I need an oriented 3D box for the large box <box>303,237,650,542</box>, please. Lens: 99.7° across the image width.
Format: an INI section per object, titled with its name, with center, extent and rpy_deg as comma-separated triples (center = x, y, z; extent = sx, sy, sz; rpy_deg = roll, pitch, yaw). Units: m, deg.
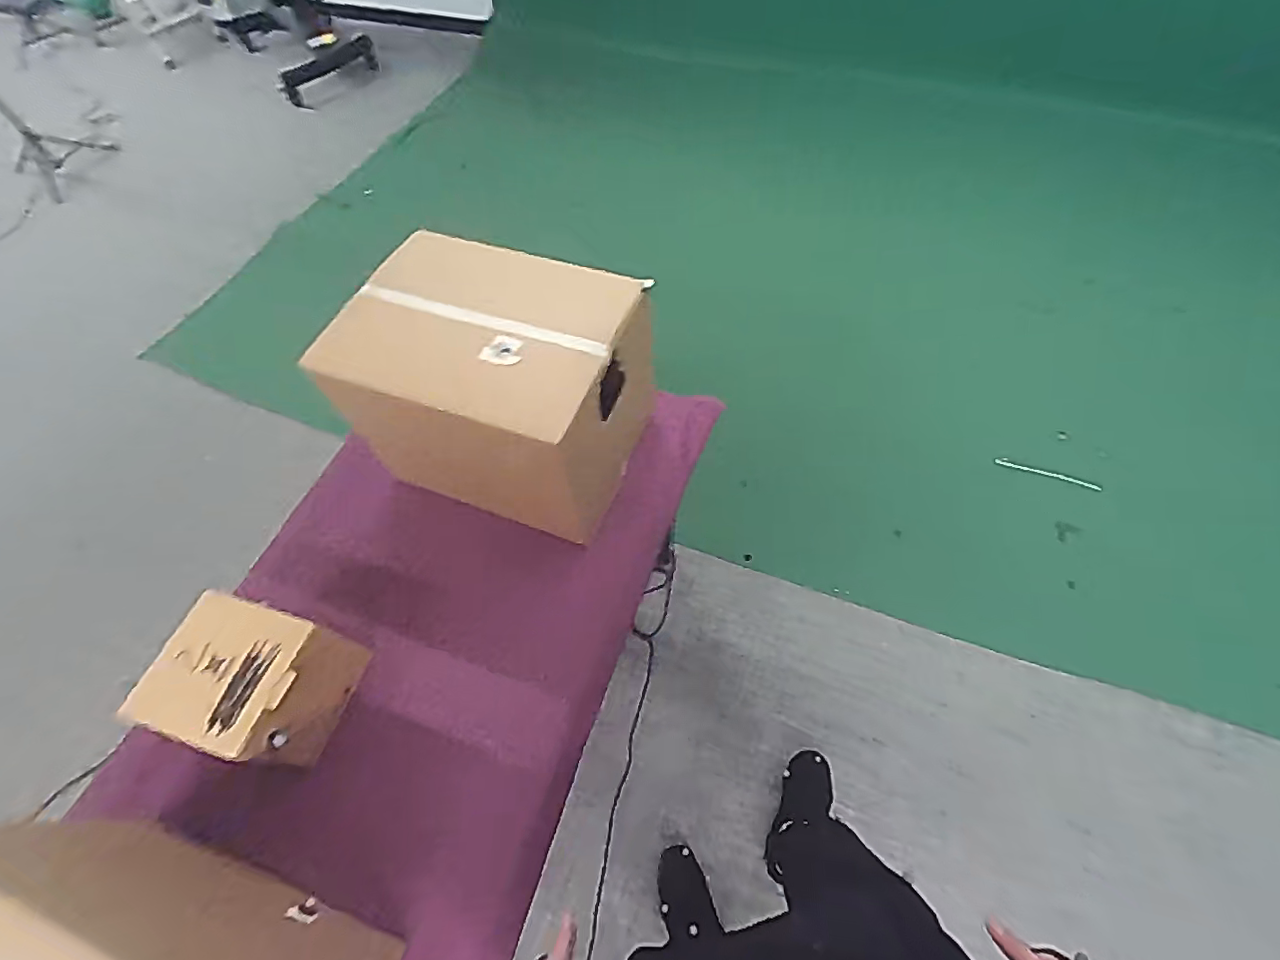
[large box]
center = -0.221, -0.142, 0.894
extent = 0.408, 0.320, 0.320
rpy_deg = 17, 62, 11
